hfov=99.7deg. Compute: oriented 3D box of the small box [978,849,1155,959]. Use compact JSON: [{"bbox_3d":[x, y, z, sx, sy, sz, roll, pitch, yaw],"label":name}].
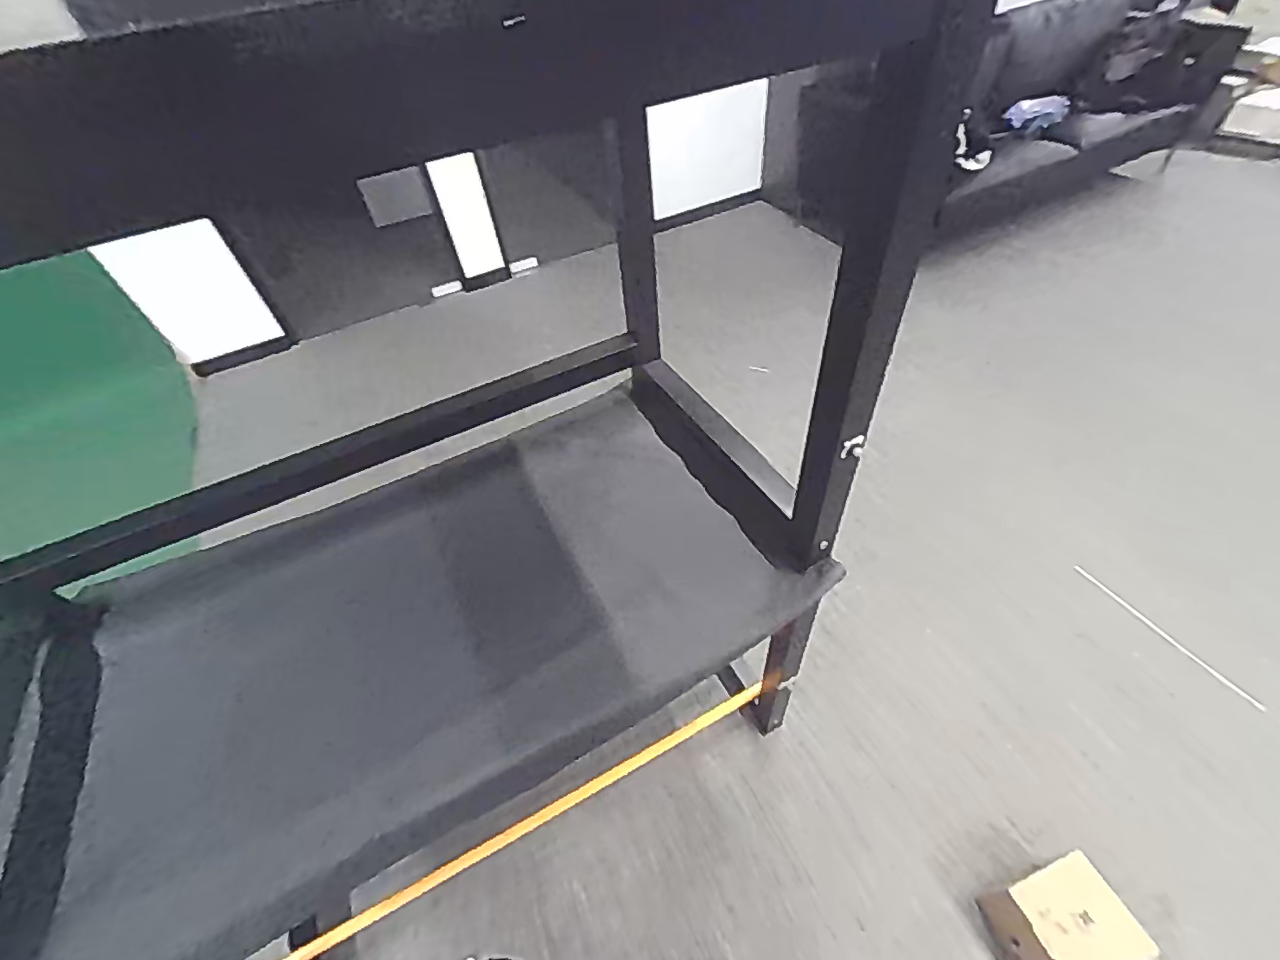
[{"bbox_3d":[0.799,0.845,1.036,0.179,0.176,0.168,-20,48,-10],"label":"small box"}]
